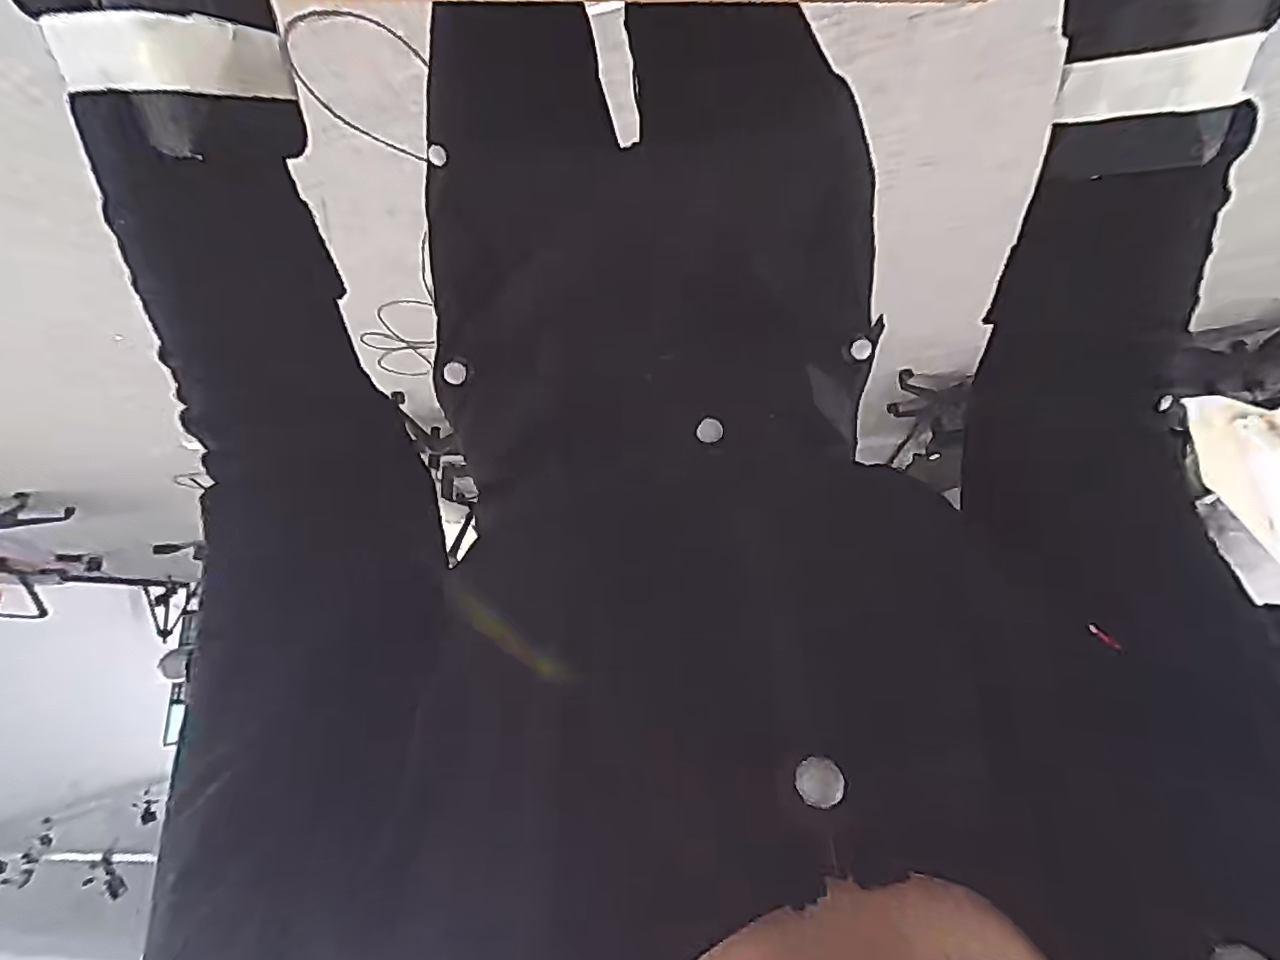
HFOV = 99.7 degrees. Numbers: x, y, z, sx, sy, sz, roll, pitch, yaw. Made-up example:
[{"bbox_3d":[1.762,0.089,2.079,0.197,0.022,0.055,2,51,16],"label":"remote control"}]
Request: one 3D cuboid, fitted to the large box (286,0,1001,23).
[{"bbox_3d":[0.010,-0.404,0.149,0.408,0.320,0.320,-3,-176,-4],"label":"large box"}]
